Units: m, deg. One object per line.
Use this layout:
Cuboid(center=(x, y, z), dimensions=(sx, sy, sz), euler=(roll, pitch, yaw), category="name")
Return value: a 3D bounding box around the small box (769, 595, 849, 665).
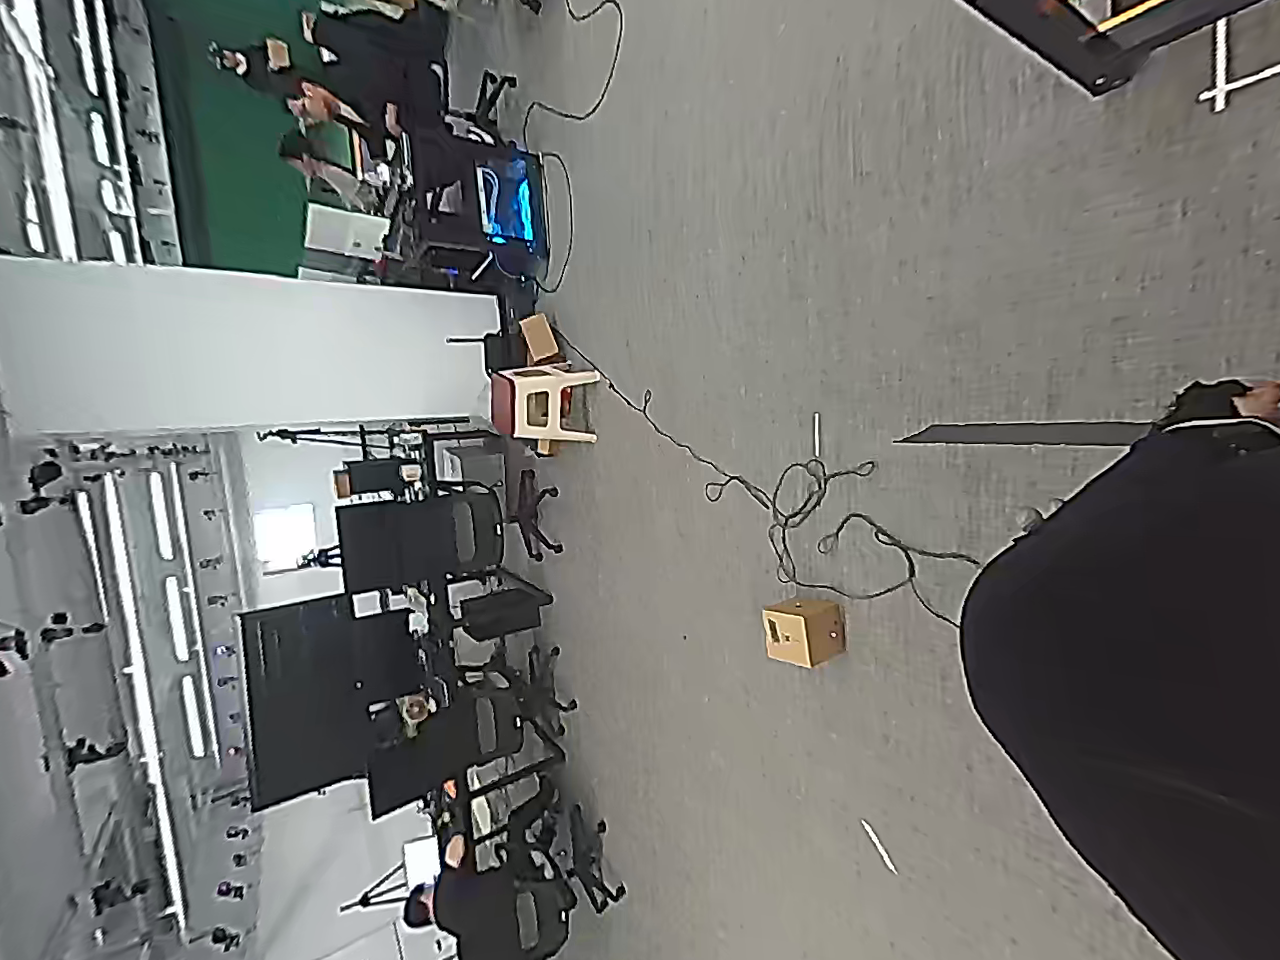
Cuboid(center=(0.552, 0.482, 1.764), dimensions=(0.179, 0.176, 0.168), euler=(-6, 93, 57), category="small box")
